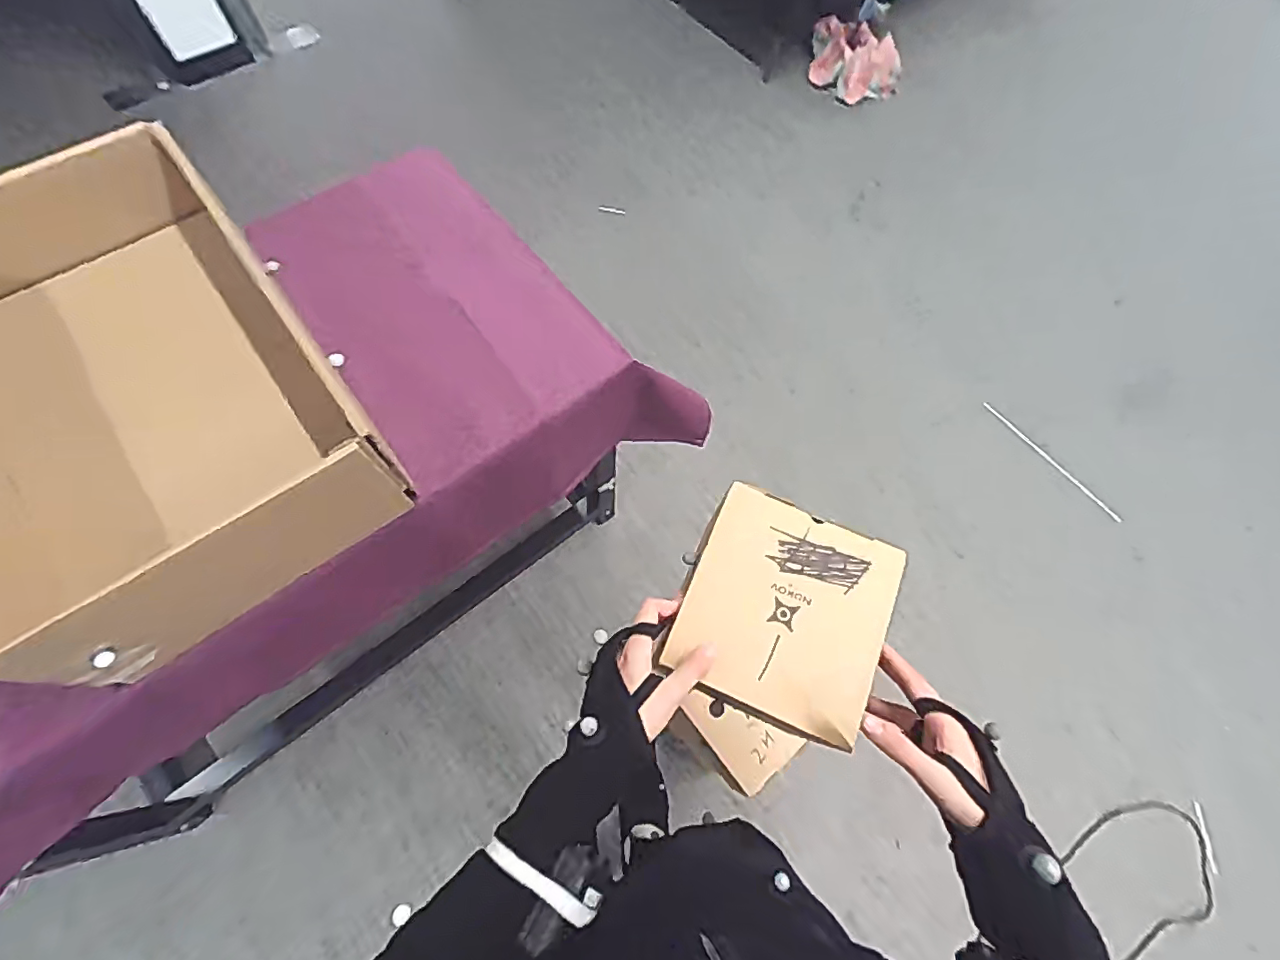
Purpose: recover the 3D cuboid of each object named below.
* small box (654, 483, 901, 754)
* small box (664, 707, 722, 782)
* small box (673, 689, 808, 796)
[{"bbox_3d":[0.118,0.133,0.527,0.168,0.176,0.179,23,72,7],"label":"small box"},{"bbox_3d":[0.168,0.554,1.241,0.179,0.176,0.168,-41,74,-18],"label":"small box"},{"bbox_3d":[0.173,0.413,0.944,0.168,0.176,0.179,-35,72,-15],"label":"small box"}]
